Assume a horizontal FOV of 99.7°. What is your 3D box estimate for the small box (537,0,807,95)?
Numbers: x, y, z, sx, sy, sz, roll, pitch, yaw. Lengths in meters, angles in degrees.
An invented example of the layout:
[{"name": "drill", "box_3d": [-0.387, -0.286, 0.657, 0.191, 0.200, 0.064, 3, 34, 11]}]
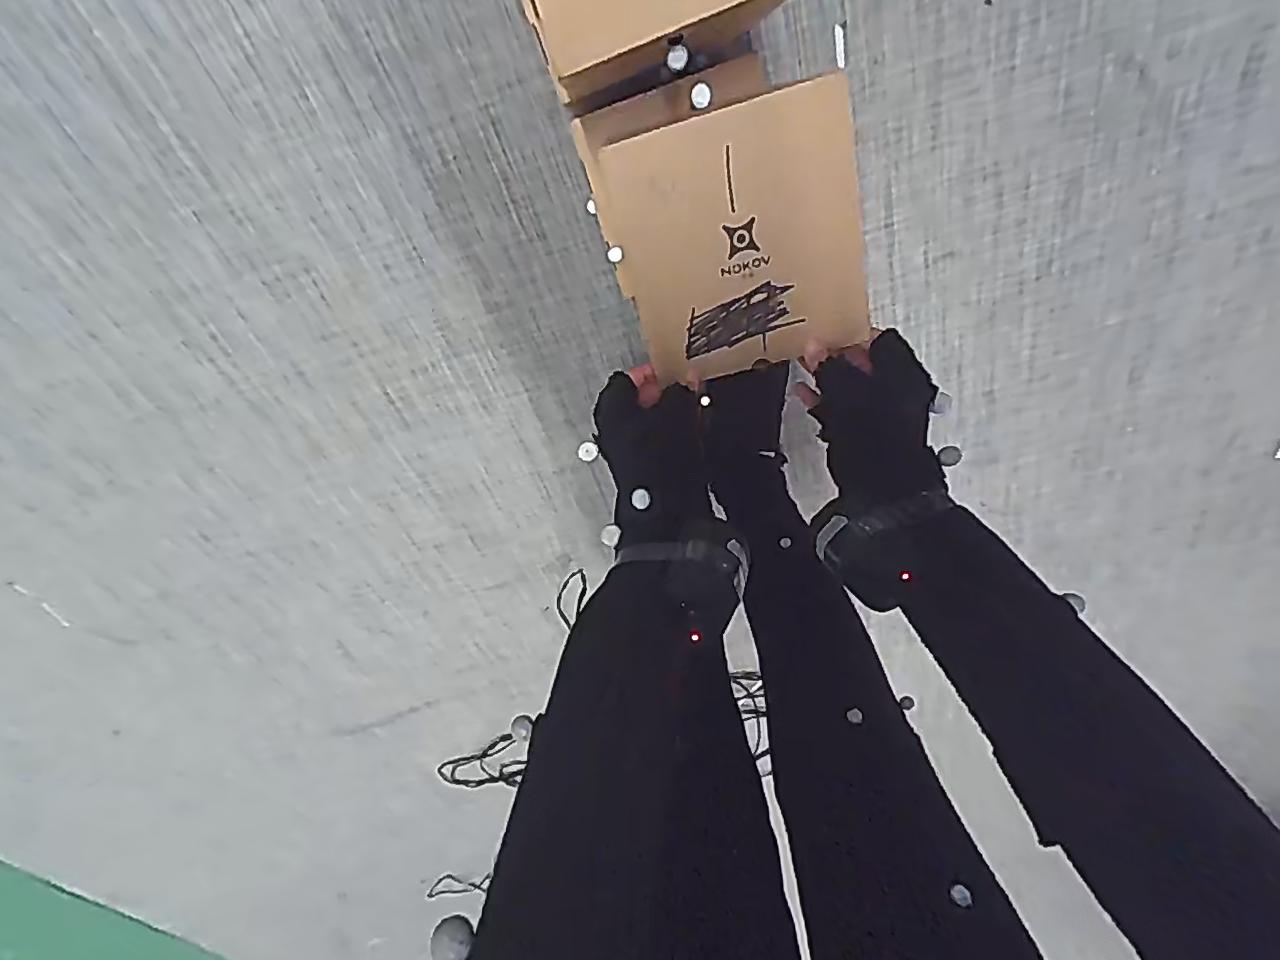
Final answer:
[{"name": "small box", "box_3d": [0.008, -0.378, 0.353, 0.179, 0.176, 0.168, -16, 122, 9]}]
